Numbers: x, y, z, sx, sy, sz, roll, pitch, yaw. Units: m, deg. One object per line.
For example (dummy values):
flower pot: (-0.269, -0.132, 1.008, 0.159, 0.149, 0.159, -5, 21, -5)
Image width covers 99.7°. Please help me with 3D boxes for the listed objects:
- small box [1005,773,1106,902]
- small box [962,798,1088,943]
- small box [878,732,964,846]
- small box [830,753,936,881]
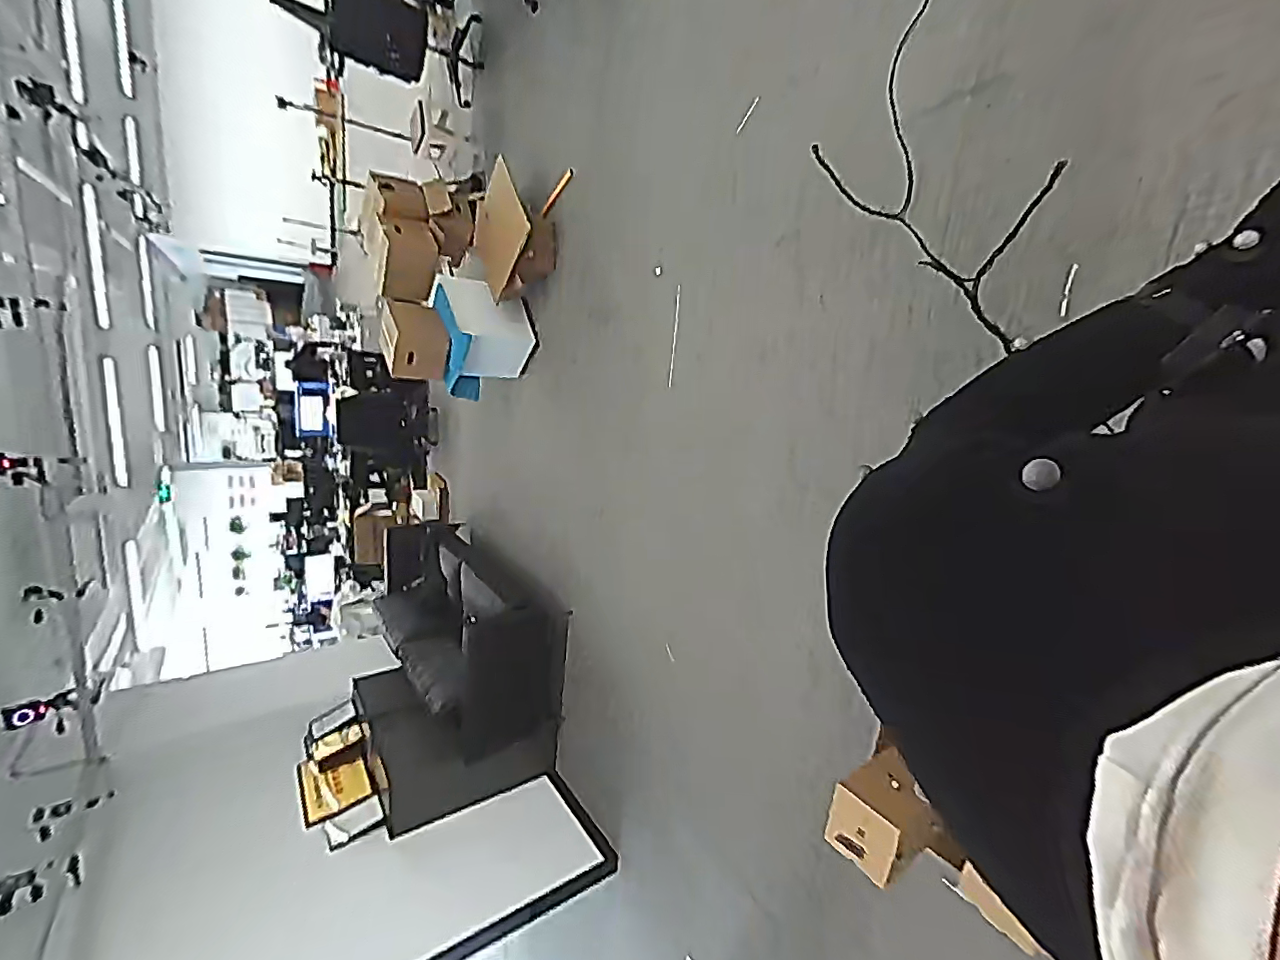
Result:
small box: (1.015, 0.871, 1.339, 0.168, 0.176, 0.179, 22, 111, 53)
small box: (0.884, 0.884, 1.240, 0.168, 0.176, 0.179, 28, 117, 49)
small box: (0.734, 0.819, 1.445, 0.168, 0.176, 0.179, 24, 113, 48)
small box: (0.605, 0.825, 1.343, 0.168, 0.176, 0.179, 23, 111, 48)
